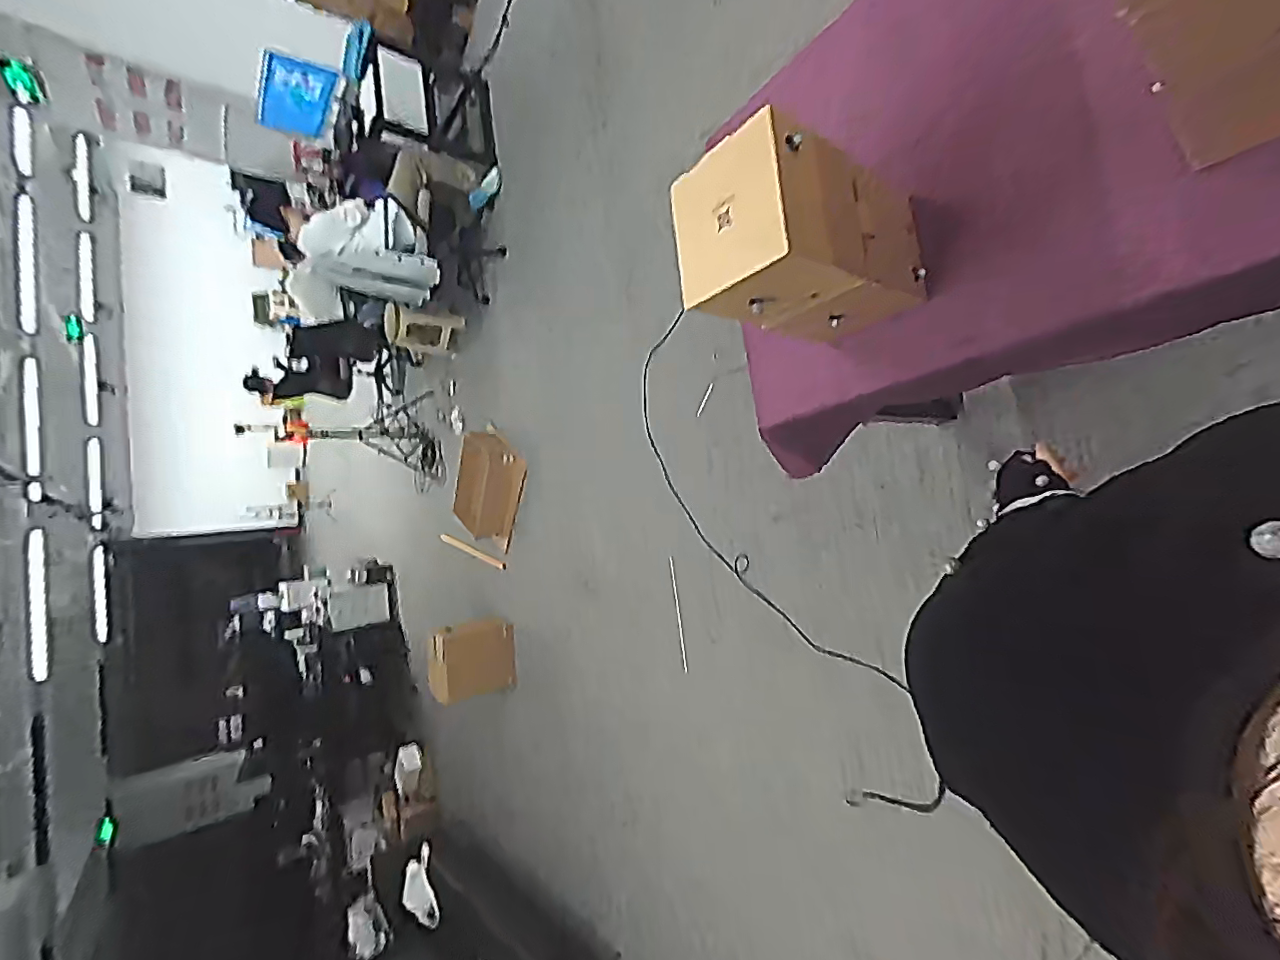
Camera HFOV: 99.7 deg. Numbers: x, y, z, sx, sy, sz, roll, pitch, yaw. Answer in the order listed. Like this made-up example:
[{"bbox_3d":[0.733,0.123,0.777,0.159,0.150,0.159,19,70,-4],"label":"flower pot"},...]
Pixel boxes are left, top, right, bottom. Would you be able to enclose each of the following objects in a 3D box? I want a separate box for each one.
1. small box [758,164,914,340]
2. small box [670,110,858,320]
[{"bbox_3d":[0.286,-0.324,0.809,0.179,0.176,0.168,-15,81,50],"label":"small box"},{"bbox_3d":[0.162,-0.321,0.703,0.168,0.176,0.179,-13,81,50],"label":"small box"}]
